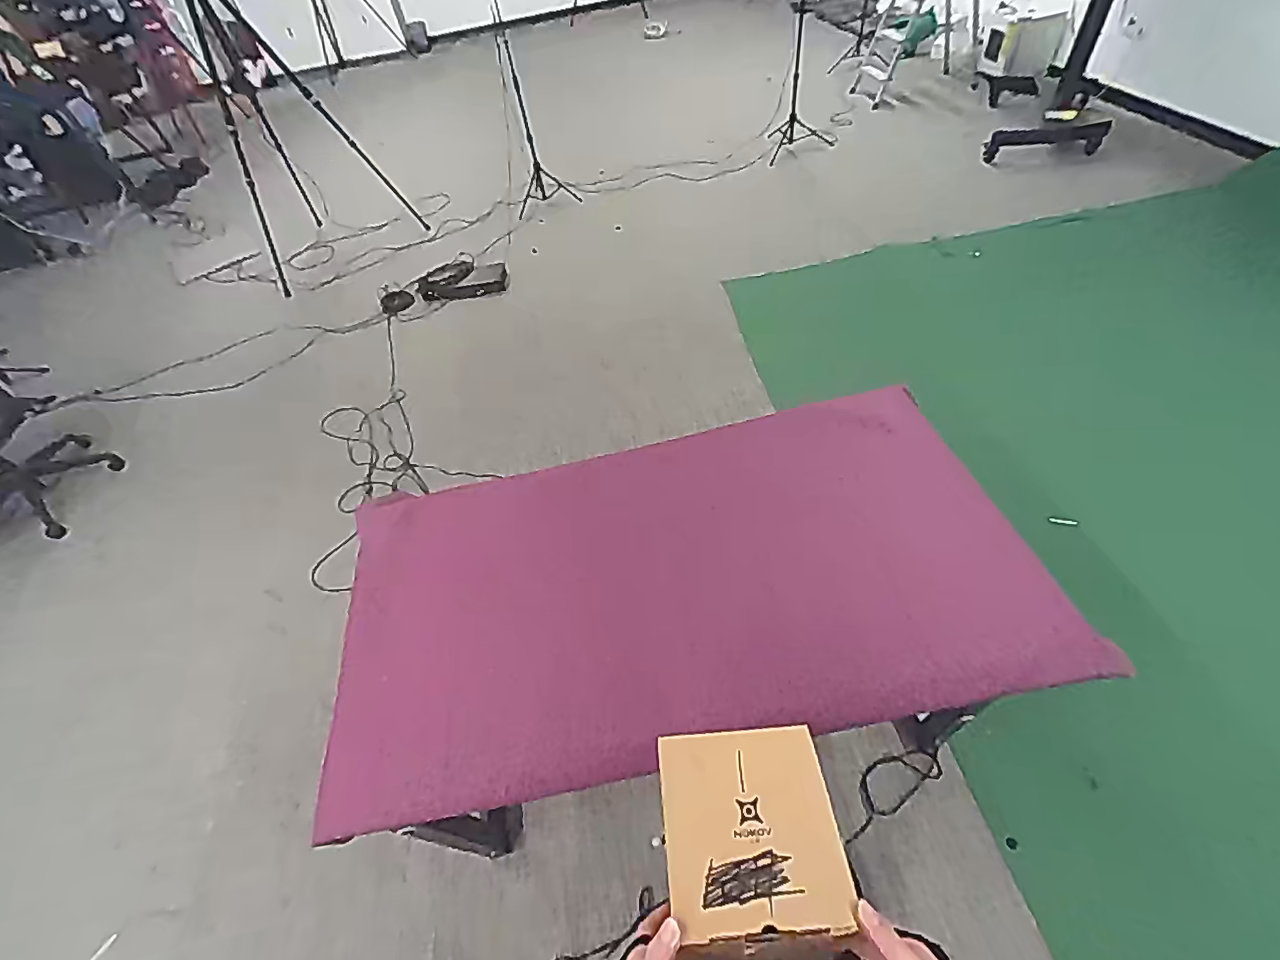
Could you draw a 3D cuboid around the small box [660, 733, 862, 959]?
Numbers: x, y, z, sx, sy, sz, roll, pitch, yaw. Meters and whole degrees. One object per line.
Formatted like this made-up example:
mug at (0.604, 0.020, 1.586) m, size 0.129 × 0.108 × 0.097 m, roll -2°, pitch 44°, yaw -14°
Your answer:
small box at (0.111, 0.396, 0.575) m, size 0.168 × 0.176 × 0.179 m, roll -4°, pitch 42°, yaw -1°
